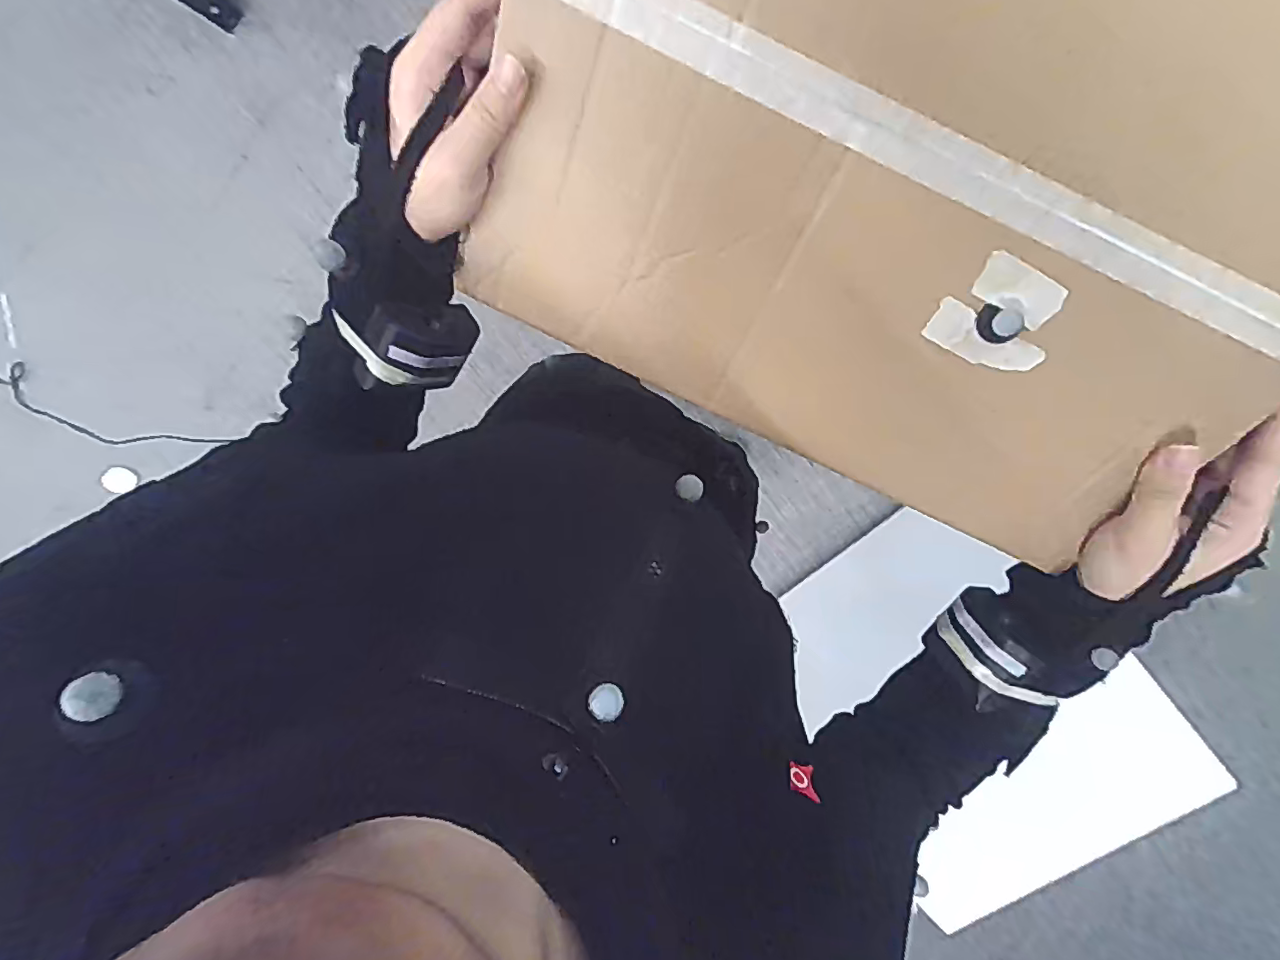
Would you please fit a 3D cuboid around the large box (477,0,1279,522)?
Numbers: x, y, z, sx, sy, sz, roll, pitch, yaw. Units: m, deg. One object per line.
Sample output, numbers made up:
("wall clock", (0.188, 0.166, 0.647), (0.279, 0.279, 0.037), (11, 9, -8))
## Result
("large box", (0.162, -0.241, 0.365), (0.408, 0.320, 0.320), (24, 126, -4))
